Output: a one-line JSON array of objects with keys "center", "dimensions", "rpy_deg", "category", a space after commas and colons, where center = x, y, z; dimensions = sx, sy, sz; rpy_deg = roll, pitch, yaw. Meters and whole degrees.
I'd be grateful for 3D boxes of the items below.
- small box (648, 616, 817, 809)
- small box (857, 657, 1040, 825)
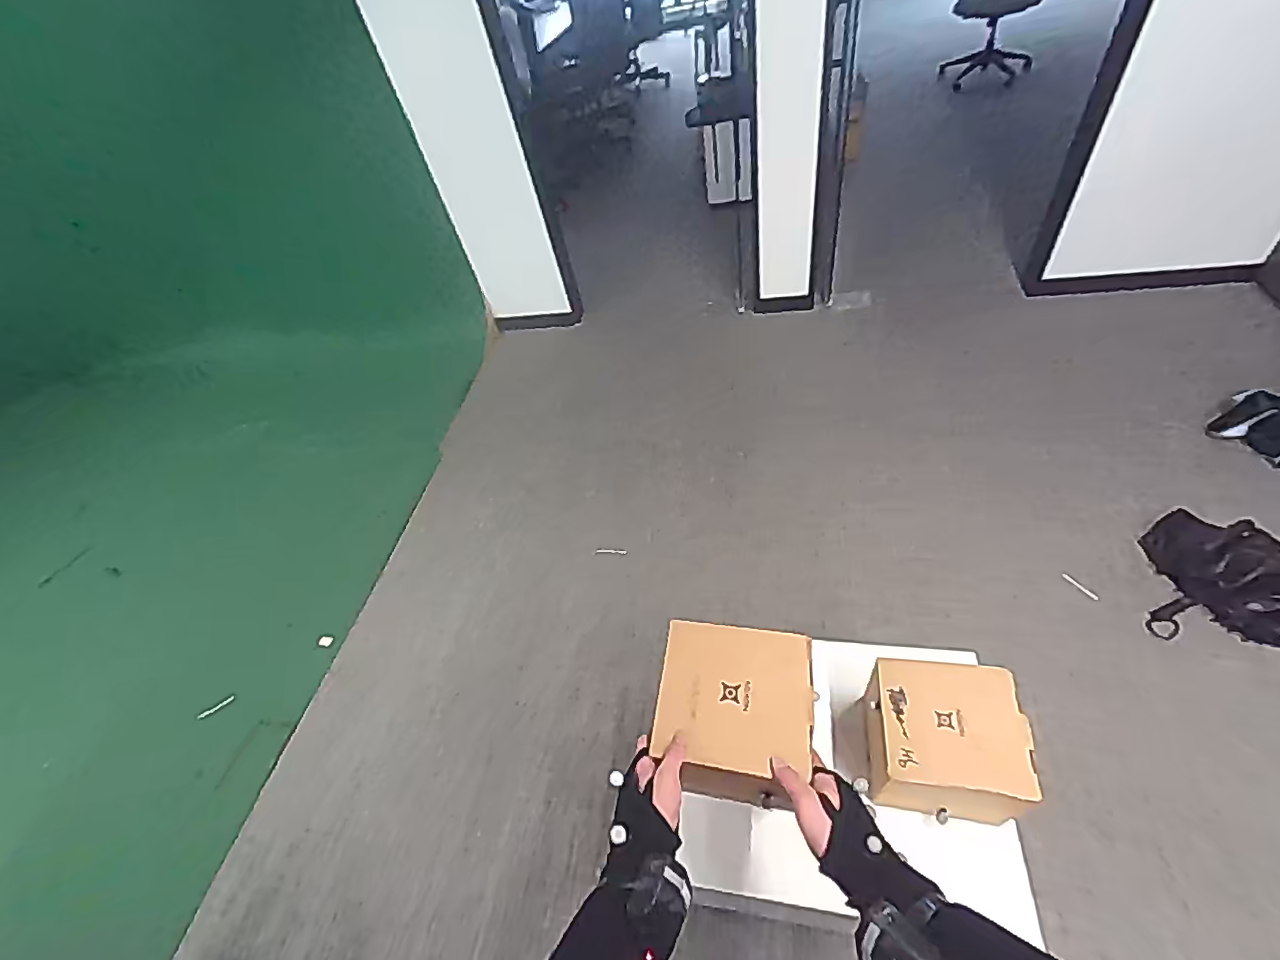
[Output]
[{"center": [0.117, 0.289, 0.668], "dimensions": [0.179, 0.176, 0.168], "rpy_deg": [3, 49, 13], "category": "small box"}, {"center": [0.422, 0.375, 0.774], "dimensions": [0.179, 0.176, 0.168], "rpy_deg": [3, 49, 13], "category": "small box"}]
